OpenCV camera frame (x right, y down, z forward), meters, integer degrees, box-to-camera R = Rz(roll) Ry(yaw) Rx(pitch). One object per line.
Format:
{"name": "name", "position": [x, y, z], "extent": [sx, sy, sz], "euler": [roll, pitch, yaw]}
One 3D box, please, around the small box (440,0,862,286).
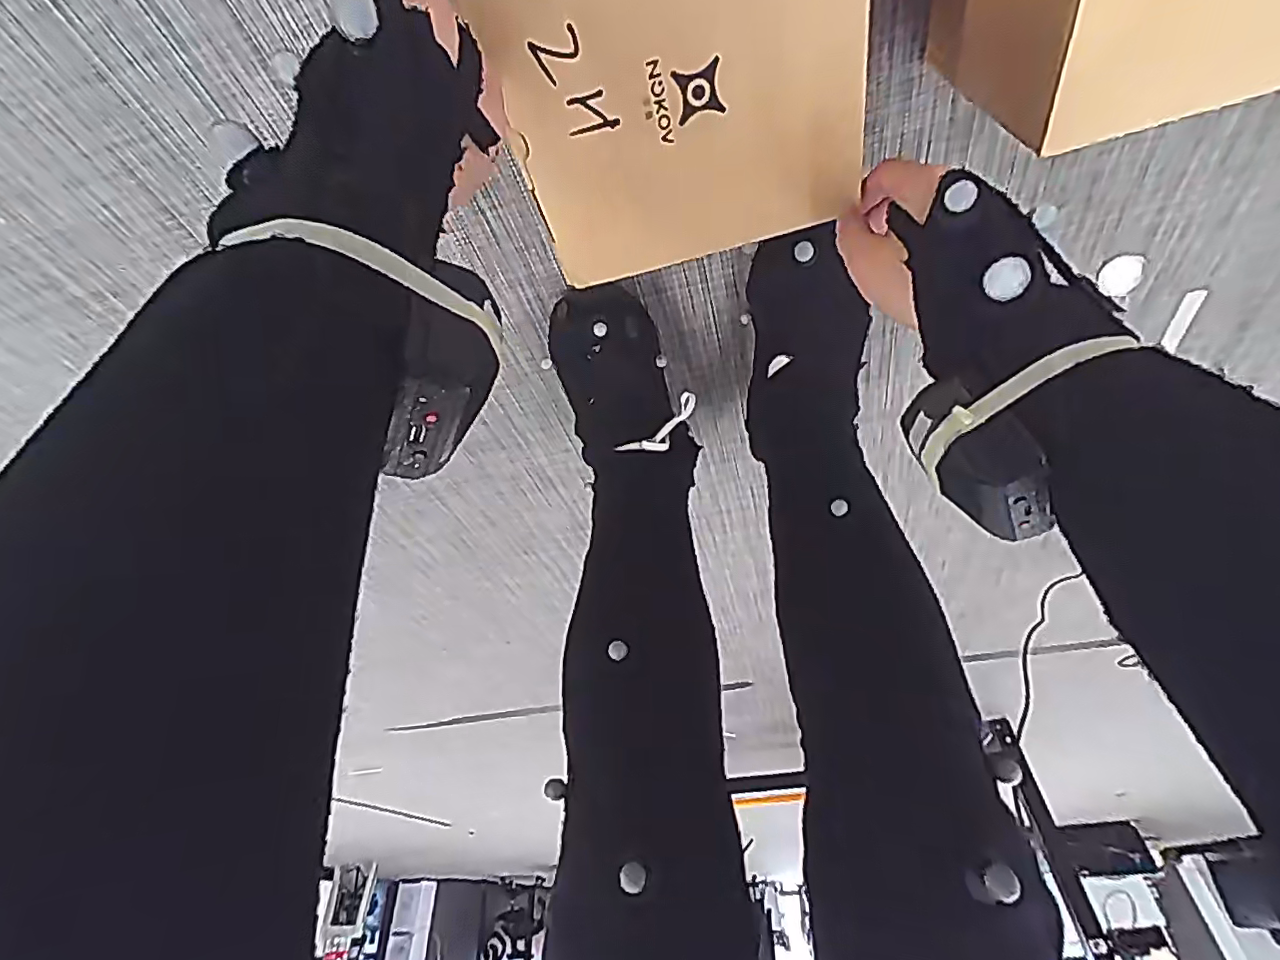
{"name": "small box", "position": [0.010, -0.245, 0.303], "extent": [0.179, 0.176, 0.168], "euler": [-11, 139, 10]}
